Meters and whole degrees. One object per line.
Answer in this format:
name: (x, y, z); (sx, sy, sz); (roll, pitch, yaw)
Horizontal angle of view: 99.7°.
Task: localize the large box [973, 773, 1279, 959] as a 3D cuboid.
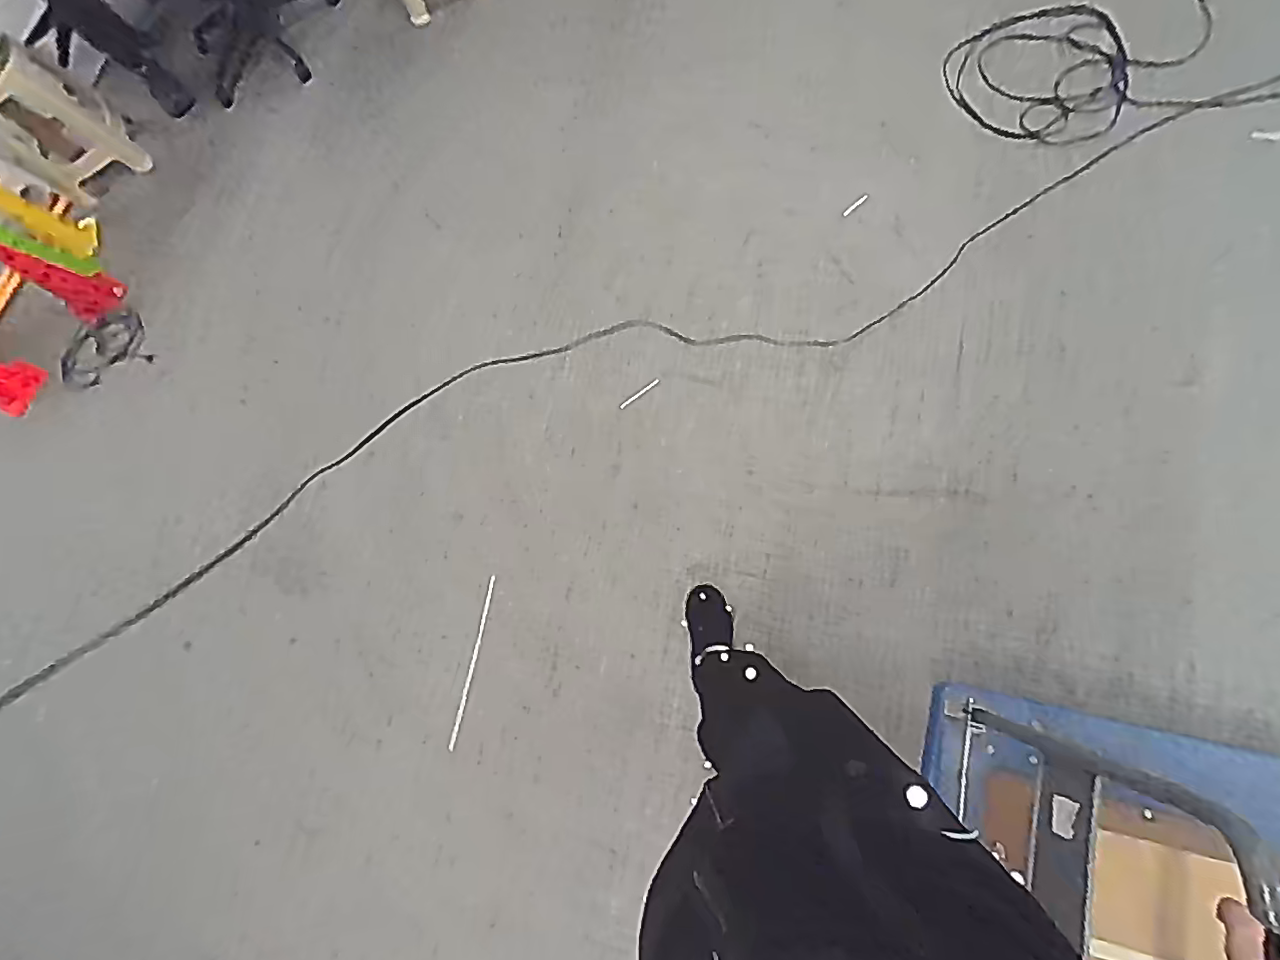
large box: (0.842, 0.739, 0.910); (0.408, 0.320, 0.320); (9, 78, 12)
